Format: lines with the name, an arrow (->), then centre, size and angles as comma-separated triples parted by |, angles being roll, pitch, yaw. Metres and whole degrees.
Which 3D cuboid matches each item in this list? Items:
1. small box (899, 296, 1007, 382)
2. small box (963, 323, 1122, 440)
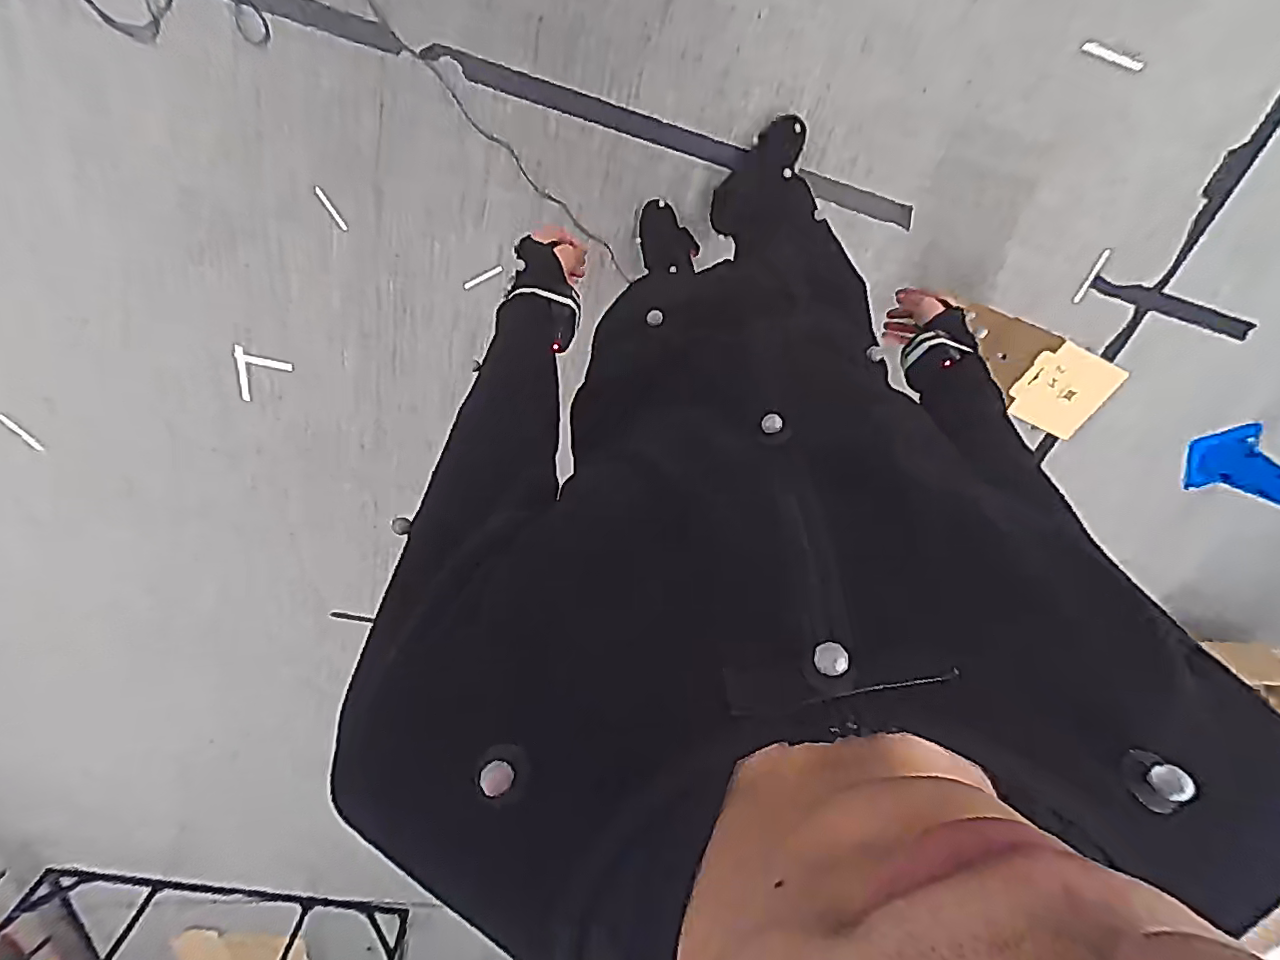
small box -> 0.840, -0.382, 1.458 | 0.179, 0.176, 0.168 | 16, 119, -10
small box -> 0.858, -0.220, 1.171 | 0.179, 0.176, 0.168 | 21, 119, -12
